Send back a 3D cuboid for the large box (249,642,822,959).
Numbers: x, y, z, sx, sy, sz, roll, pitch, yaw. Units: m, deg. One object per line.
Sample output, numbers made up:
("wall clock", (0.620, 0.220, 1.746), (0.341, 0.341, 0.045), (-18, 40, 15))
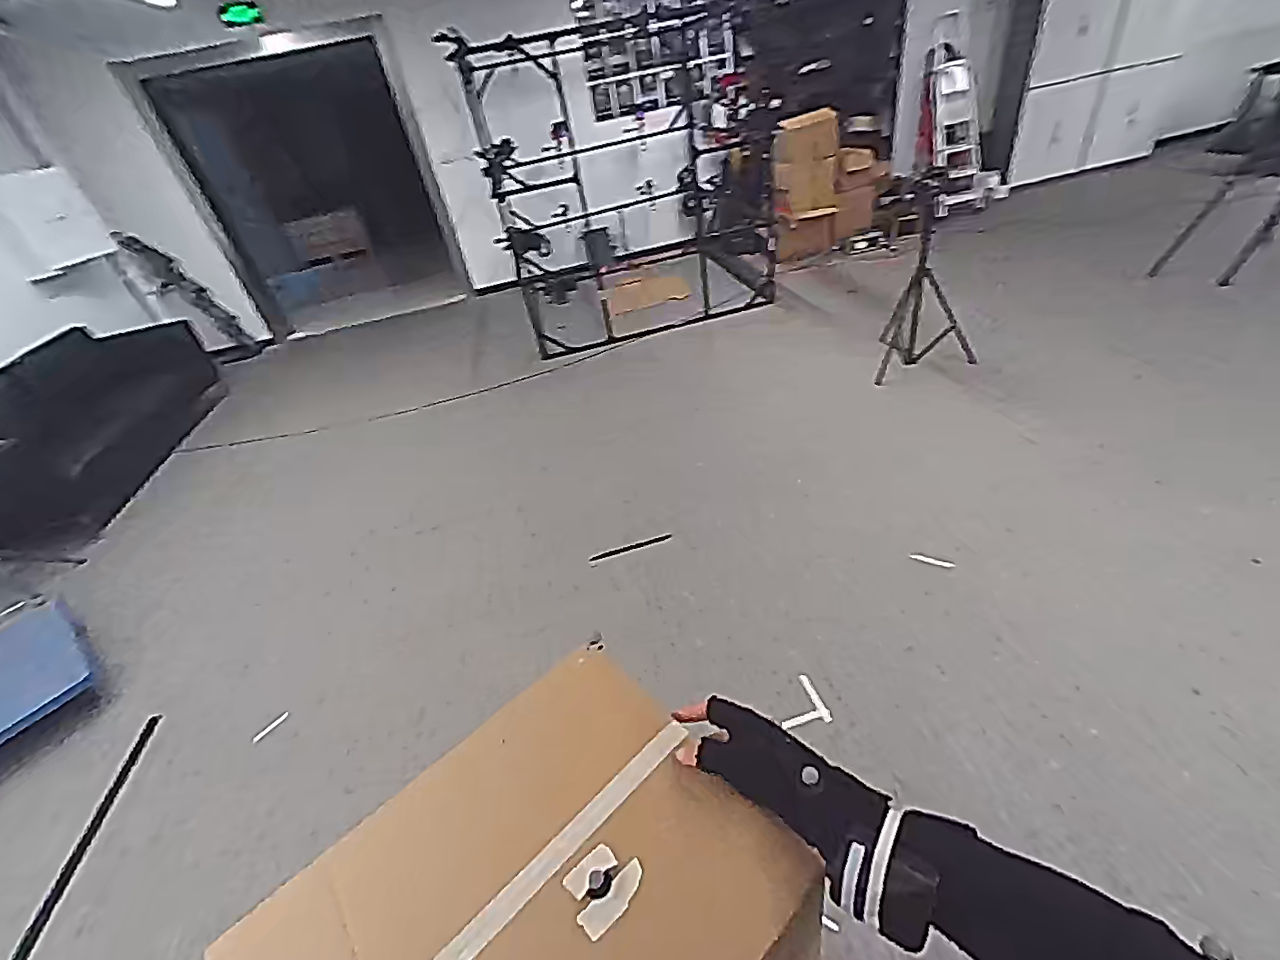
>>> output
("large box", (-0.067, 0.461, 0.534), (0.408, 0.320, 0.320), (-34, 41, -26))
